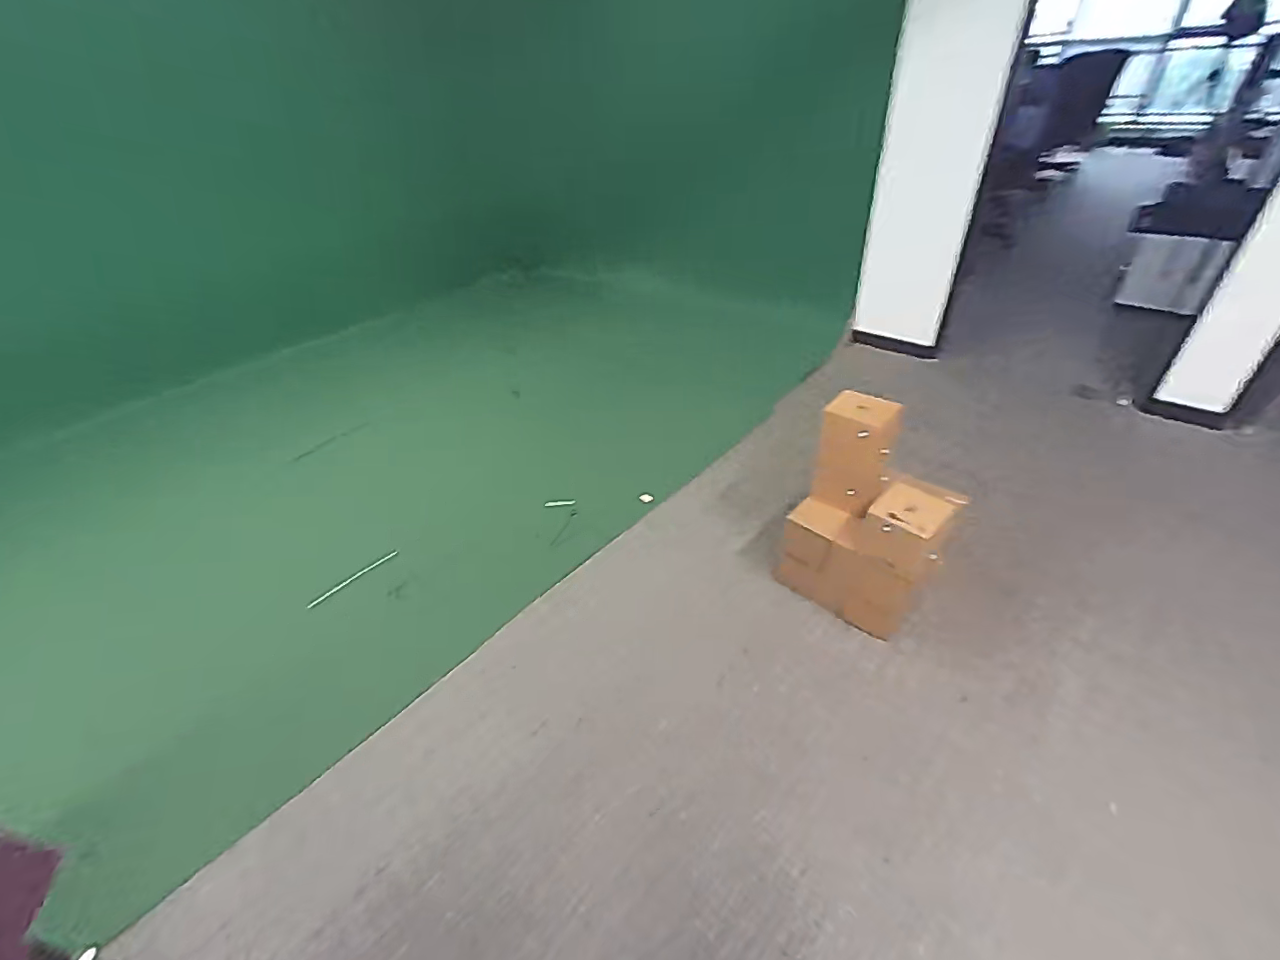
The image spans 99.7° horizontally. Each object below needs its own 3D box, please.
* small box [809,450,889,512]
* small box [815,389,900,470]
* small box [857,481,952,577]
[{"bbox_3d":[0.668,-0.019,1.740,0.179,0.176,0.168,25,46,33],"label":"small box"},{"bbox_3d":[0.656,-0.152,1.646,0.179,0.176,0.168,27,47,33],"label":"small box"},{"bbox_3d":[0.740,0.138,1.528,0.179,0.176,0.168,-32,46,-31],"label":"small box"}]
